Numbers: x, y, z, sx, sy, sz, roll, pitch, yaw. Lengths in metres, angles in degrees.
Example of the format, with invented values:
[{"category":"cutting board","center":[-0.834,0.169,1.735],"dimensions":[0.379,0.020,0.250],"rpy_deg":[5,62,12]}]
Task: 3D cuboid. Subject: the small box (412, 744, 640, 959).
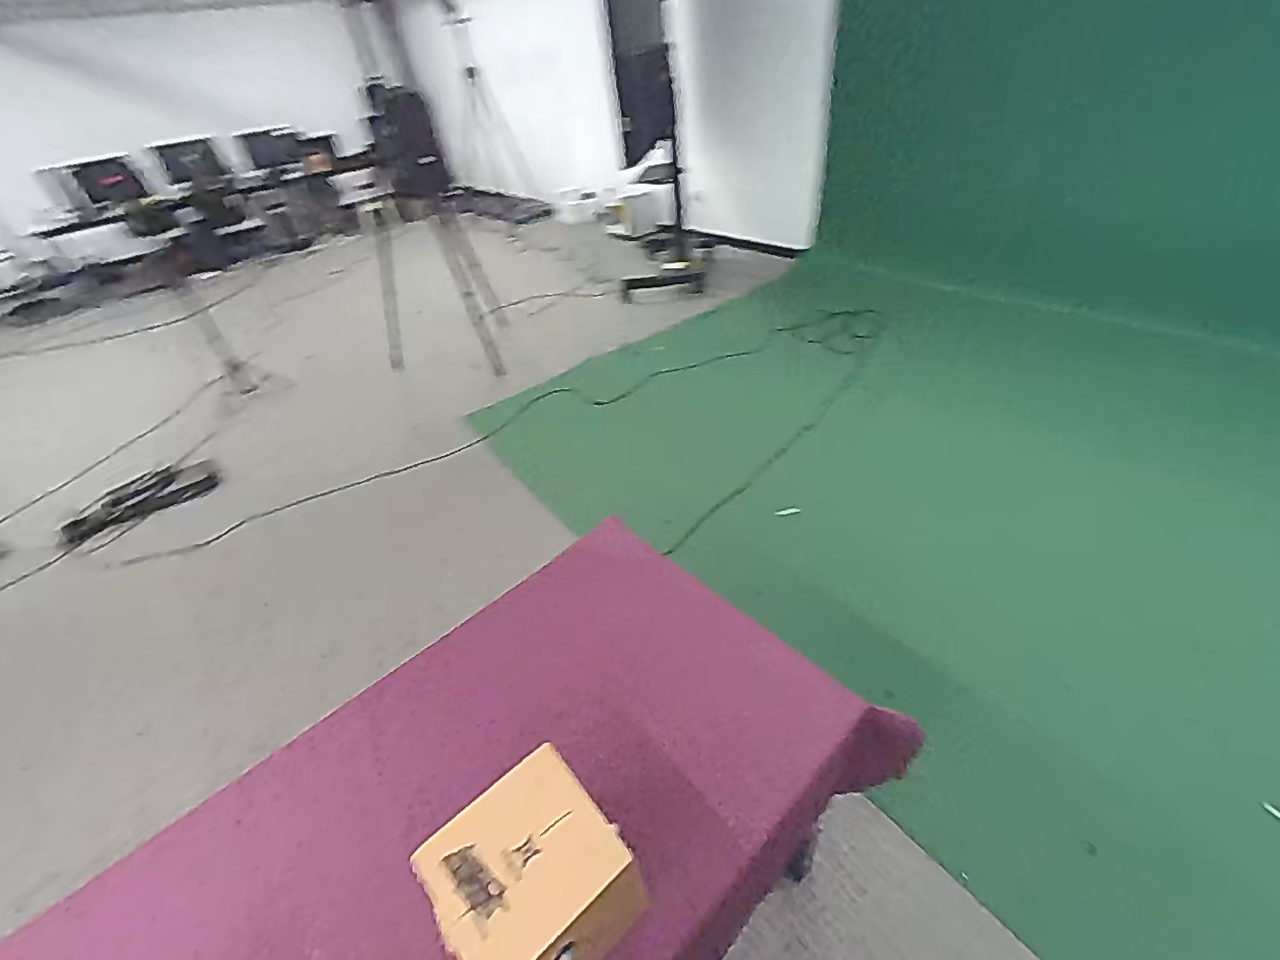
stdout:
[{"category":"small box","center":[-0.118,0.453,0.610],"dimensions":[0.179,0.176,0.168],"rpy_deg":[-32,44,-27]}]
